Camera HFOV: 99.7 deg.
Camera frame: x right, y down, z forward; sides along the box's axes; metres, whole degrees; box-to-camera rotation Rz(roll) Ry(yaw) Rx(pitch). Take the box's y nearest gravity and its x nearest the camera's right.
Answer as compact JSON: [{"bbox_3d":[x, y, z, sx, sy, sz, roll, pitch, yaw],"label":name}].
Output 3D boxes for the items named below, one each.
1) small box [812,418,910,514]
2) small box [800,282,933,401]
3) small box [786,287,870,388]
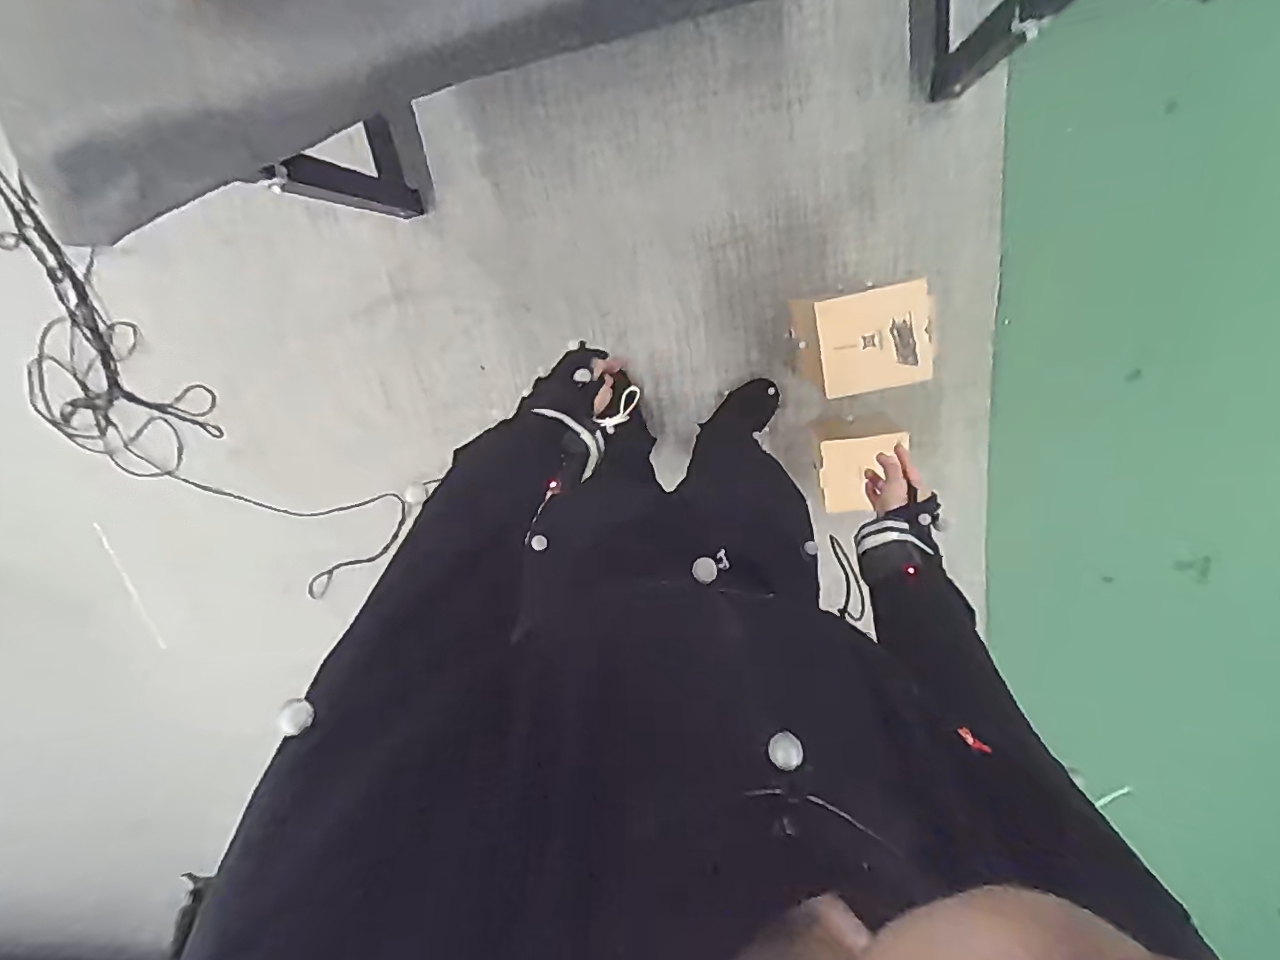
[{"bbox_3d":[0.481,-0.035,1.200,0.179,0.176,0.168,-5,109,11],"label":"small box"},{"bbox_3d":[0.395,-0.250,0.963,0.179,0.176,0.168,-10,106,12],"label":"small box"},{"bbox_3d":[0.410,-0.299,1.119,0.179,0.176,0.168,-10,106,11],"label":"small box"}]
